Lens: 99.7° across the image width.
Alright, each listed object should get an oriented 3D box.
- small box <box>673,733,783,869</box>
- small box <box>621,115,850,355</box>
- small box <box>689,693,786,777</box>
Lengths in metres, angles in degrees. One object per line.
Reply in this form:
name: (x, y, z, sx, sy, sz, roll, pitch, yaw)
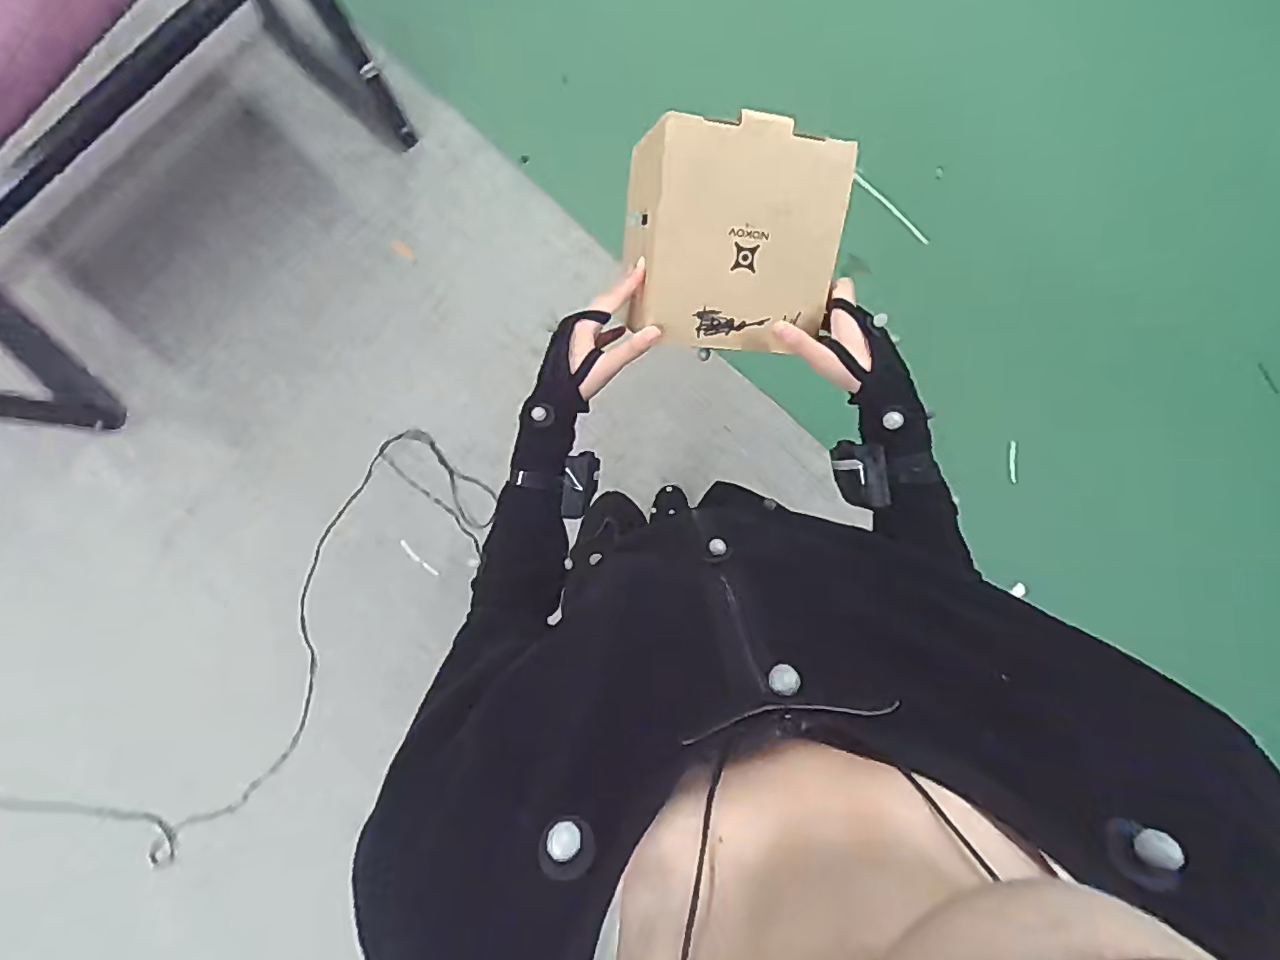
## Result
small box: (0.187, 0.700, 1.210, 0.179, 0.176, 0.168, 36, 91, 3)
small box: (0.075, -0.230, 0.537, 0.168, 0.176, 0.179, 2, 112, -10)
small box: (0.236, 0.679, 1.372, 0.168, 0.176, 0.179, 38, 91, 3)
